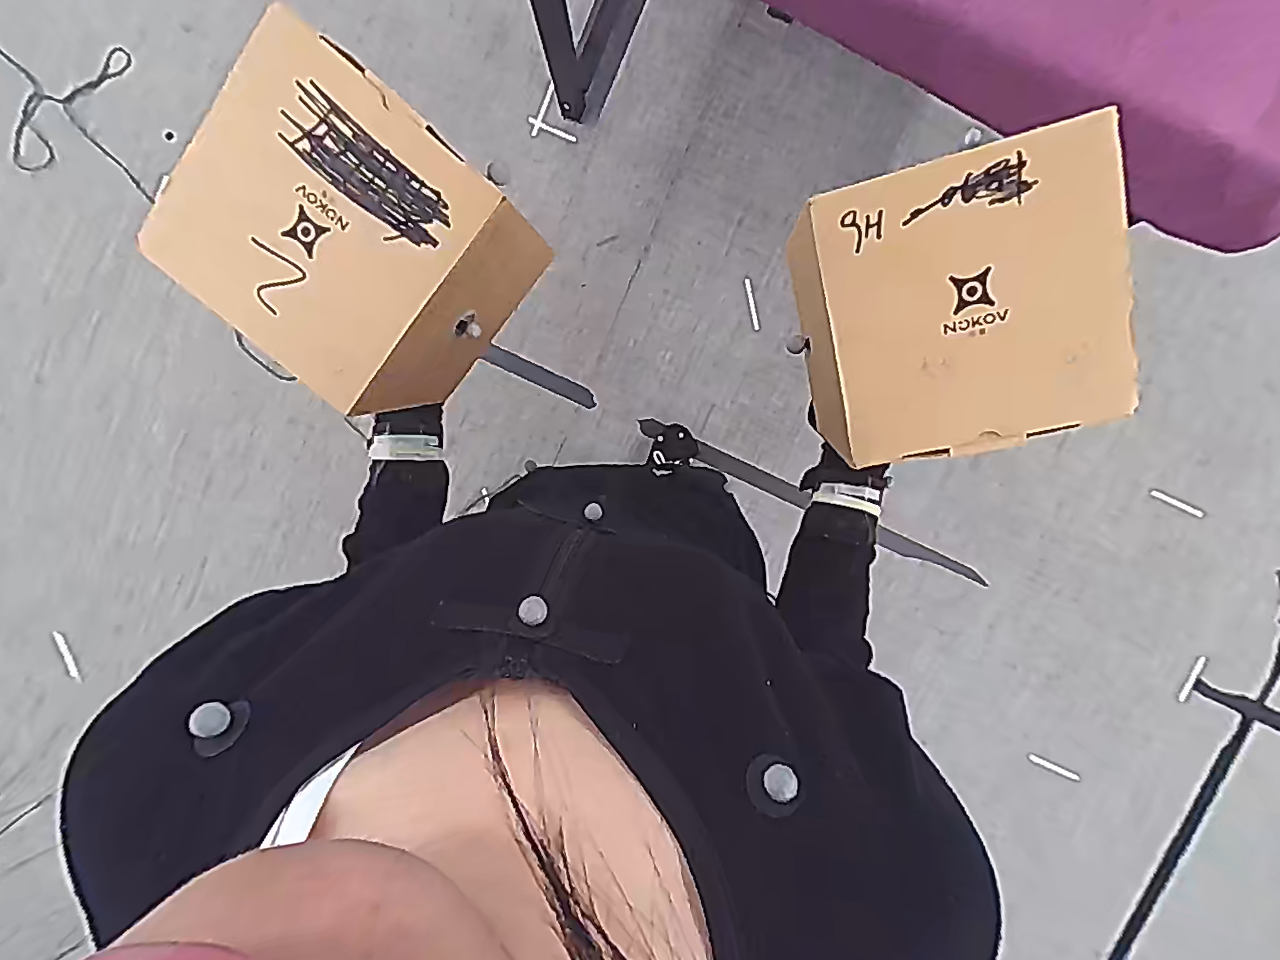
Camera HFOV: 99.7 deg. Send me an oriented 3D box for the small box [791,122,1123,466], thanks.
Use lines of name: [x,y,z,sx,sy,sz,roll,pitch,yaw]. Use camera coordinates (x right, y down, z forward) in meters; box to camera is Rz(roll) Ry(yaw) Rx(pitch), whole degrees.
small box: [0.217,-0.125,0.412,0.168,0.176,0.179,-11,102,12]
